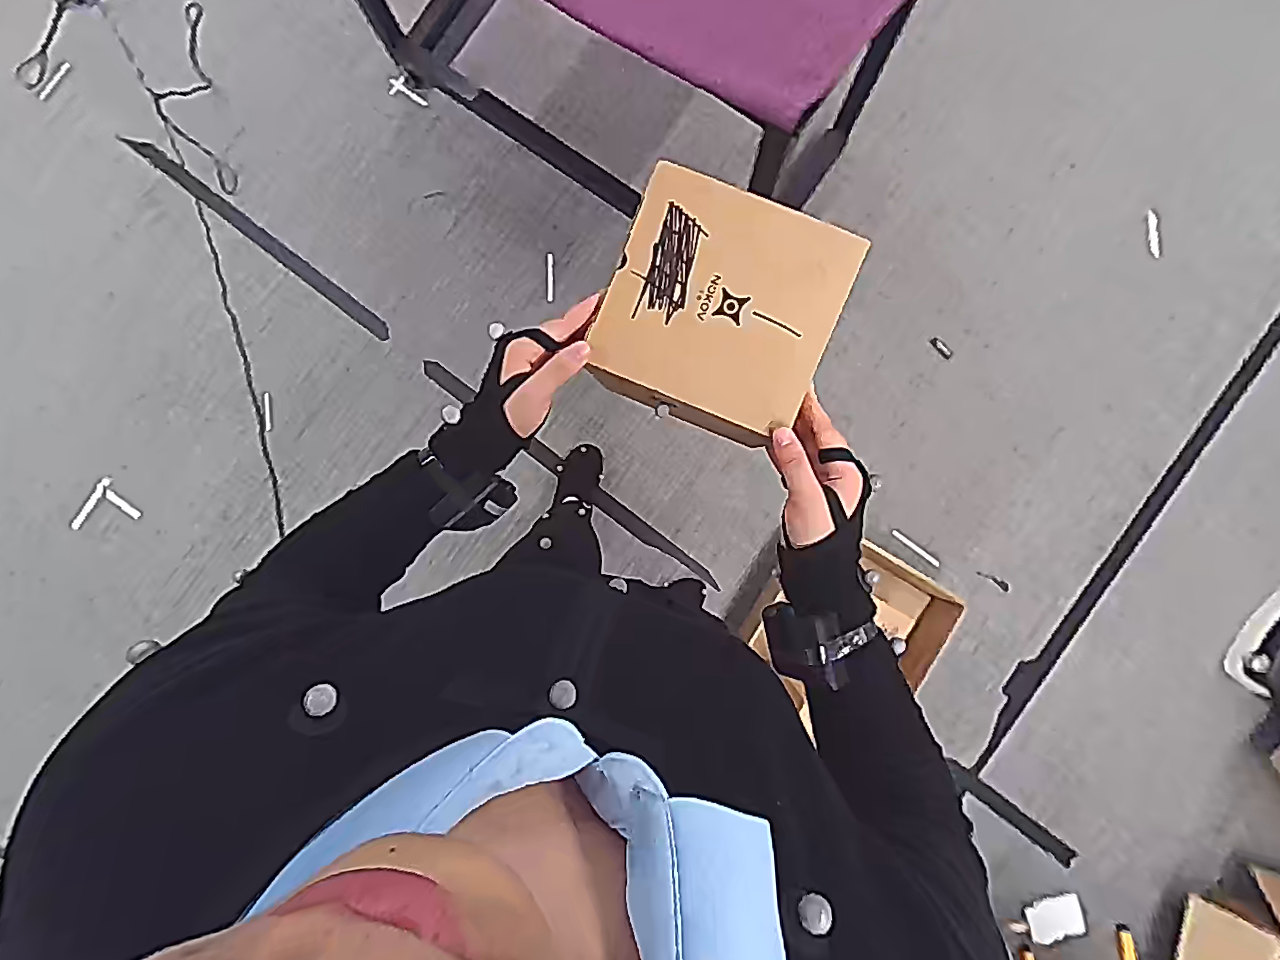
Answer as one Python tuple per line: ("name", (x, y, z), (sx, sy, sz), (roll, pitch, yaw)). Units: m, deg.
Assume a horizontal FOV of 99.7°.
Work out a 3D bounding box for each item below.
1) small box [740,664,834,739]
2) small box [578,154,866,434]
("small box", (0.367, 0.580, 1.339), (0.179, 0.176, 0.168), (33, 89, 2))
("small box", (0.065, -0.146, 0.492), (0.179, 0.176, 0.168), (22, 94, 2))
